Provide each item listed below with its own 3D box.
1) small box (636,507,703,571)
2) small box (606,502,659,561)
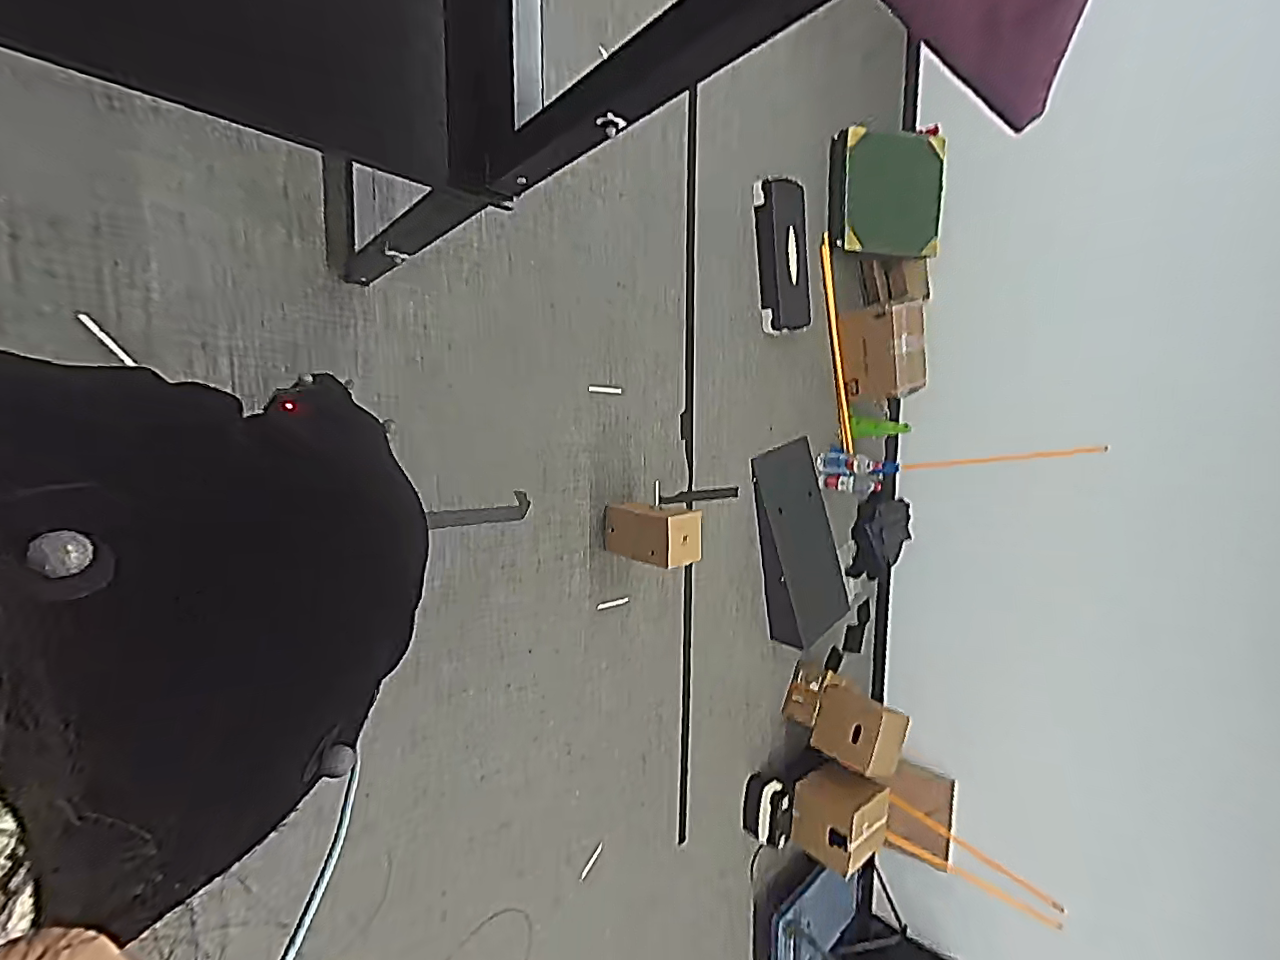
[{"bbox_3d":[0.098,0.197,1.856,0.168,0.176,0.179,-7,99,-42],"label":"small box"},{"bbox_3d":[-0.010,0.184,1.978,0.168,0.176,0.179,-5,99,-42],"label":"small box"}]
